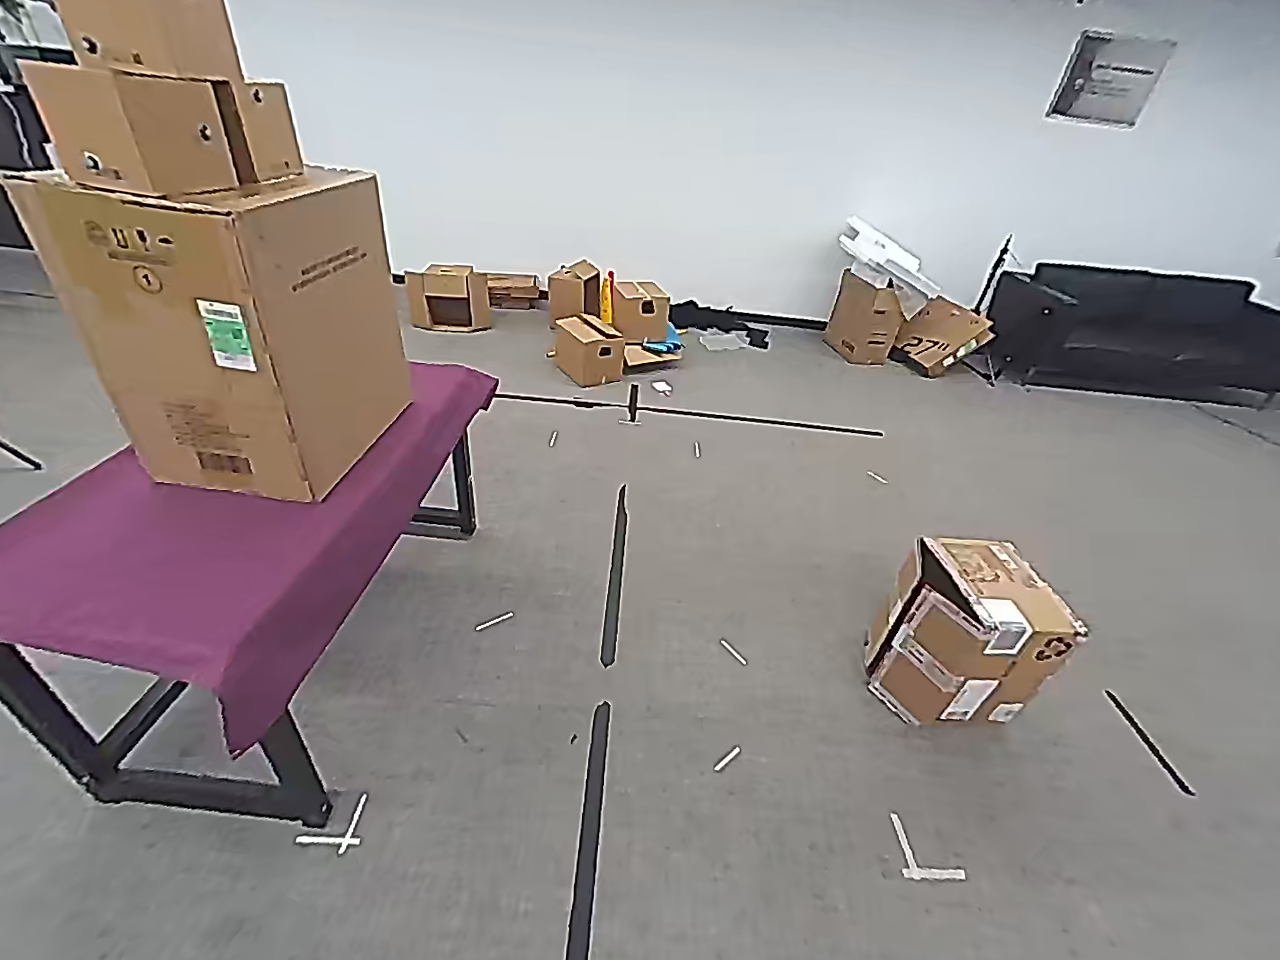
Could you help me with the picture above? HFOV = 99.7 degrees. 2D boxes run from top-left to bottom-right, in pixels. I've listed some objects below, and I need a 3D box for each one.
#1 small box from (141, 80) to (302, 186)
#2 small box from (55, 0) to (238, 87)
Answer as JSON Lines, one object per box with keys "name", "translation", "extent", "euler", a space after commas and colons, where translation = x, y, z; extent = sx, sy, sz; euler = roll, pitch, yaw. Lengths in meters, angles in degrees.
{"name": "small box", "translation": [-0.841, -0.711, 1.109], "extent": [0.179, 0.176, 0.168], "euler": [6, 36, 0]}
{"name": "small box", "translation": [-0.833, -0.779, 0.918], "extent": [0.168, 0.176, 0.179], "euler": [6, 34, -2]}
